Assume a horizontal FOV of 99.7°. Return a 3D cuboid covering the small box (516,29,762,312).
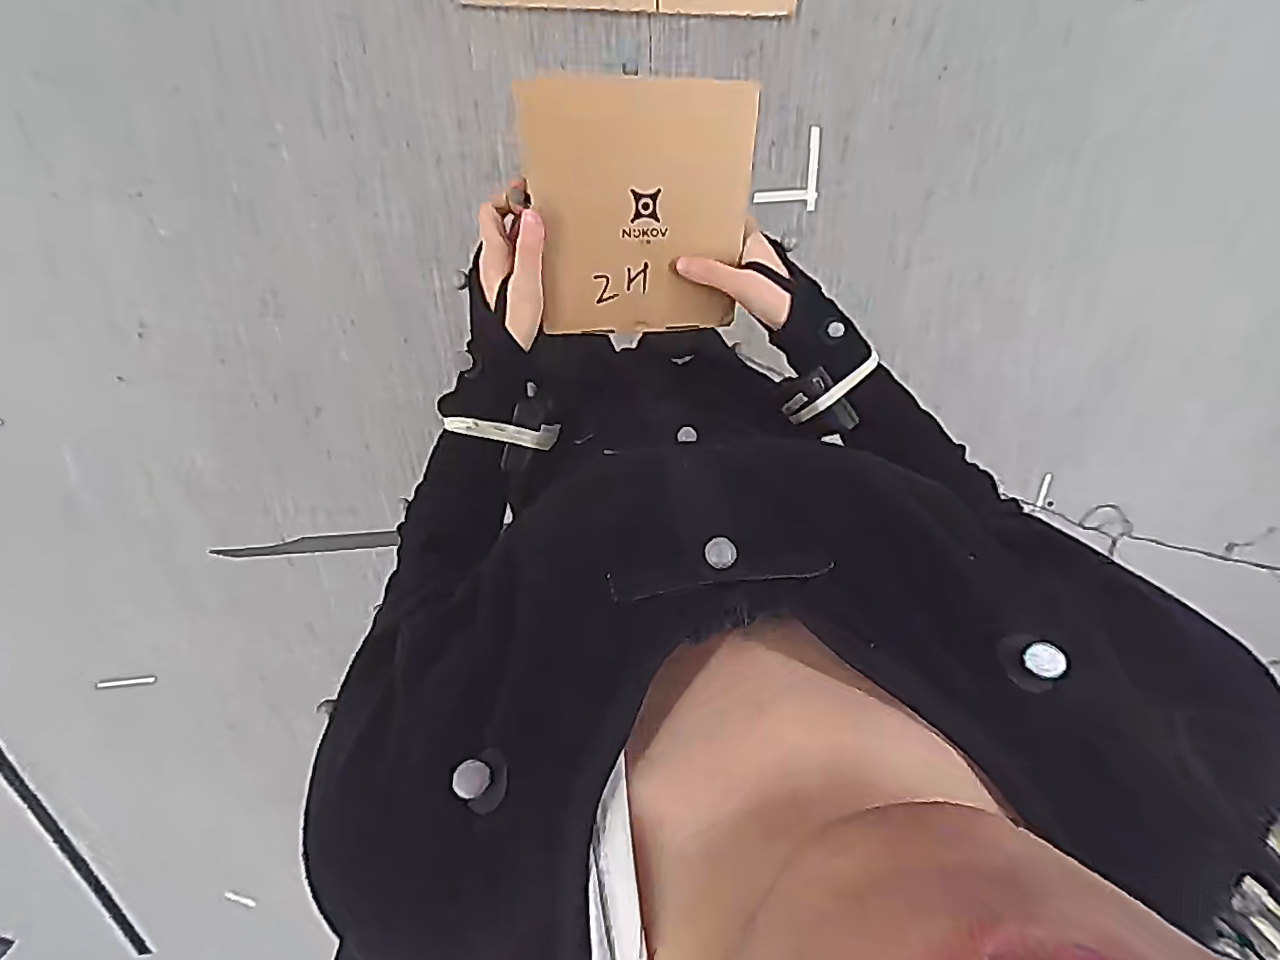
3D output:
[{"bbox_3d":[-0.014,-0.253,0.461,0.168,0.176,0.179,-5,123,-11],"label":"small box"}]
